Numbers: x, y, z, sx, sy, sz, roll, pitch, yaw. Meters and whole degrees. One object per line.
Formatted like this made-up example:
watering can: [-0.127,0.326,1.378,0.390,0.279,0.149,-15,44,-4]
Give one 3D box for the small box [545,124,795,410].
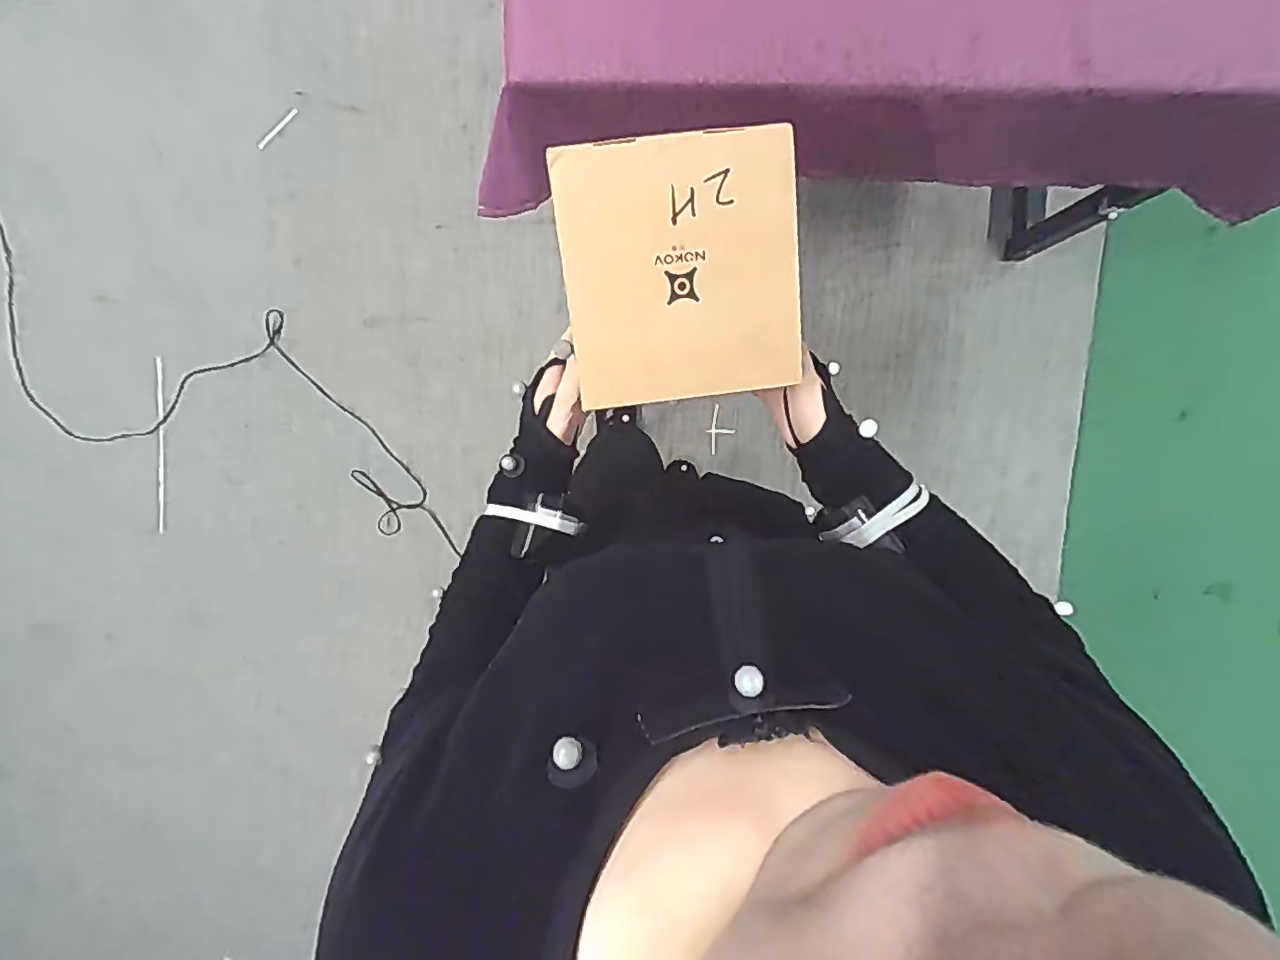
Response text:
small box: [0.022,-0.164,0.453,0.168,0.176,0.179,-7,105,-2]
